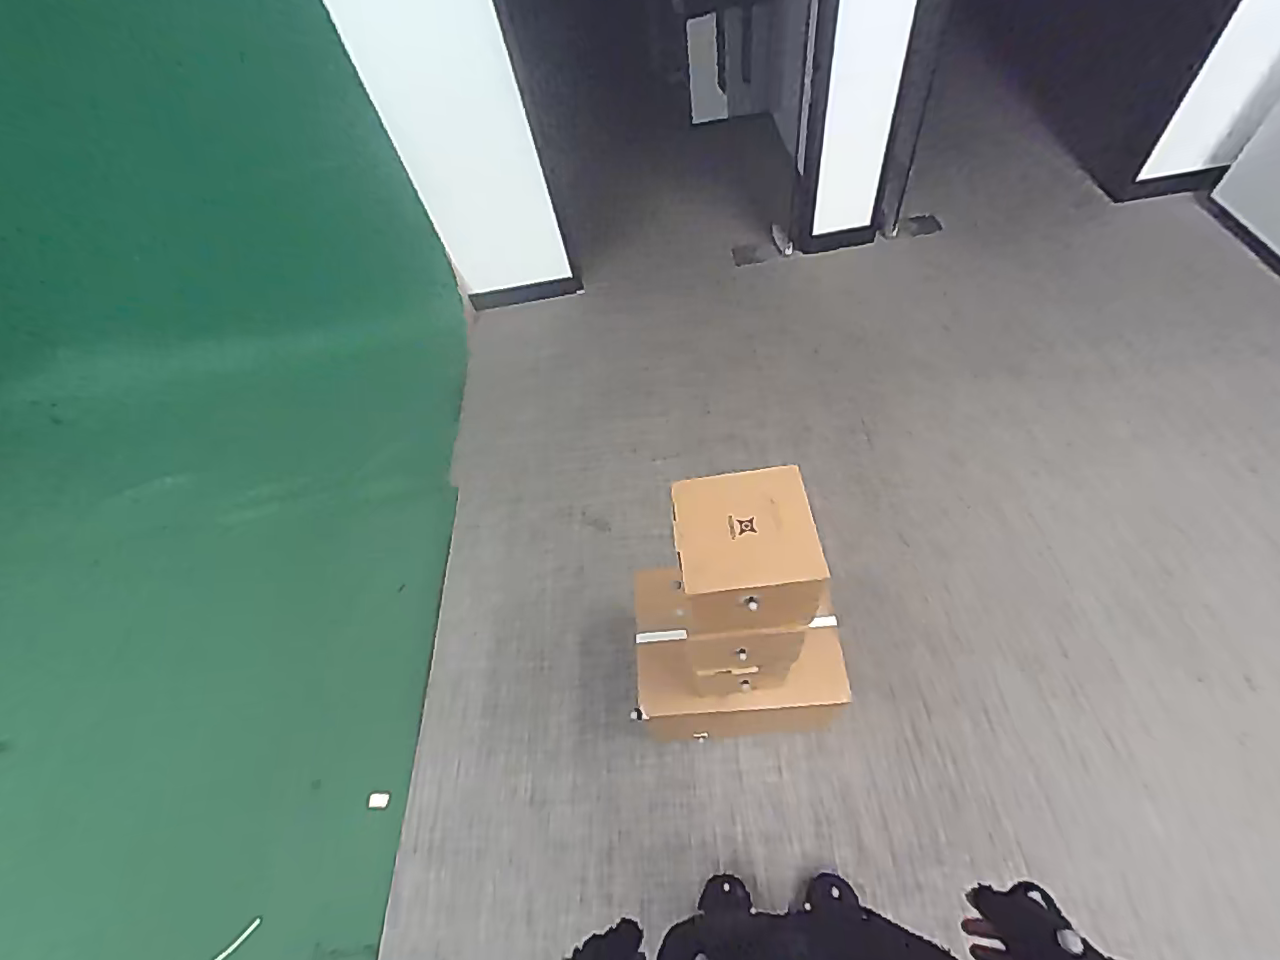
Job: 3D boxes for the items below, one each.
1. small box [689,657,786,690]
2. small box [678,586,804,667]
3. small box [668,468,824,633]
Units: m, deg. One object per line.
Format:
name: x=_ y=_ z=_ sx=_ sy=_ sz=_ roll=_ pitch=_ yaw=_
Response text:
small box: x=0.172 y=0.289 z=1.023 sx=0.168 sy=0.176 sz=0.179 roll=-9 pitch=57 yaw=3
small box: x=0.156 y=0.199 z=0.885 sx=0.179 sy=0.176 sz=0.168 roll=-7 pitch=56 yaw=6
small box: x=0.139 y=0.105 z=0.755 sx=0.179 sy=0.176 sz=0.168 roll=-7 pitch=57 yaw=3
